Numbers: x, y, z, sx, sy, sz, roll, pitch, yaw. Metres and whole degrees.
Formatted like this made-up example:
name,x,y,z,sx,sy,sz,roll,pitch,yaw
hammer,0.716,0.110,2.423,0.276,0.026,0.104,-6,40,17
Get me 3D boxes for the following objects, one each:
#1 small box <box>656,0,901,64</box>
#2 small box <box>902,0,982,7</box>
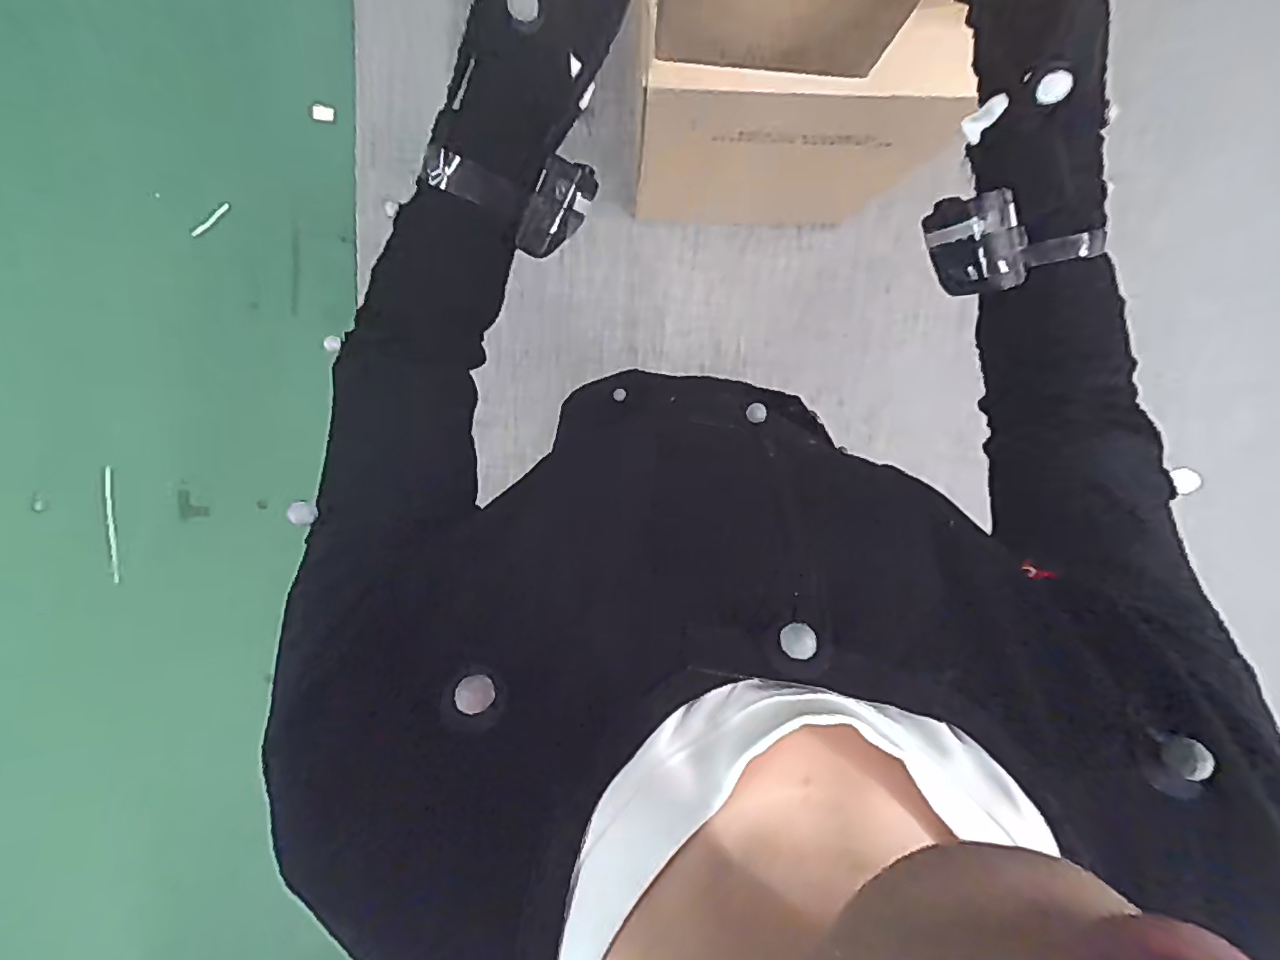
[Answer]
name,x,y,z,sx,sy,sz,roll,pitch,yaw
small box,0.105,-0.410,0.347,0.179,0.176,0.168,3,94,-3
small box,0.421,-0.688,0.614,0.179,0.176,0.168,-7,103,1
